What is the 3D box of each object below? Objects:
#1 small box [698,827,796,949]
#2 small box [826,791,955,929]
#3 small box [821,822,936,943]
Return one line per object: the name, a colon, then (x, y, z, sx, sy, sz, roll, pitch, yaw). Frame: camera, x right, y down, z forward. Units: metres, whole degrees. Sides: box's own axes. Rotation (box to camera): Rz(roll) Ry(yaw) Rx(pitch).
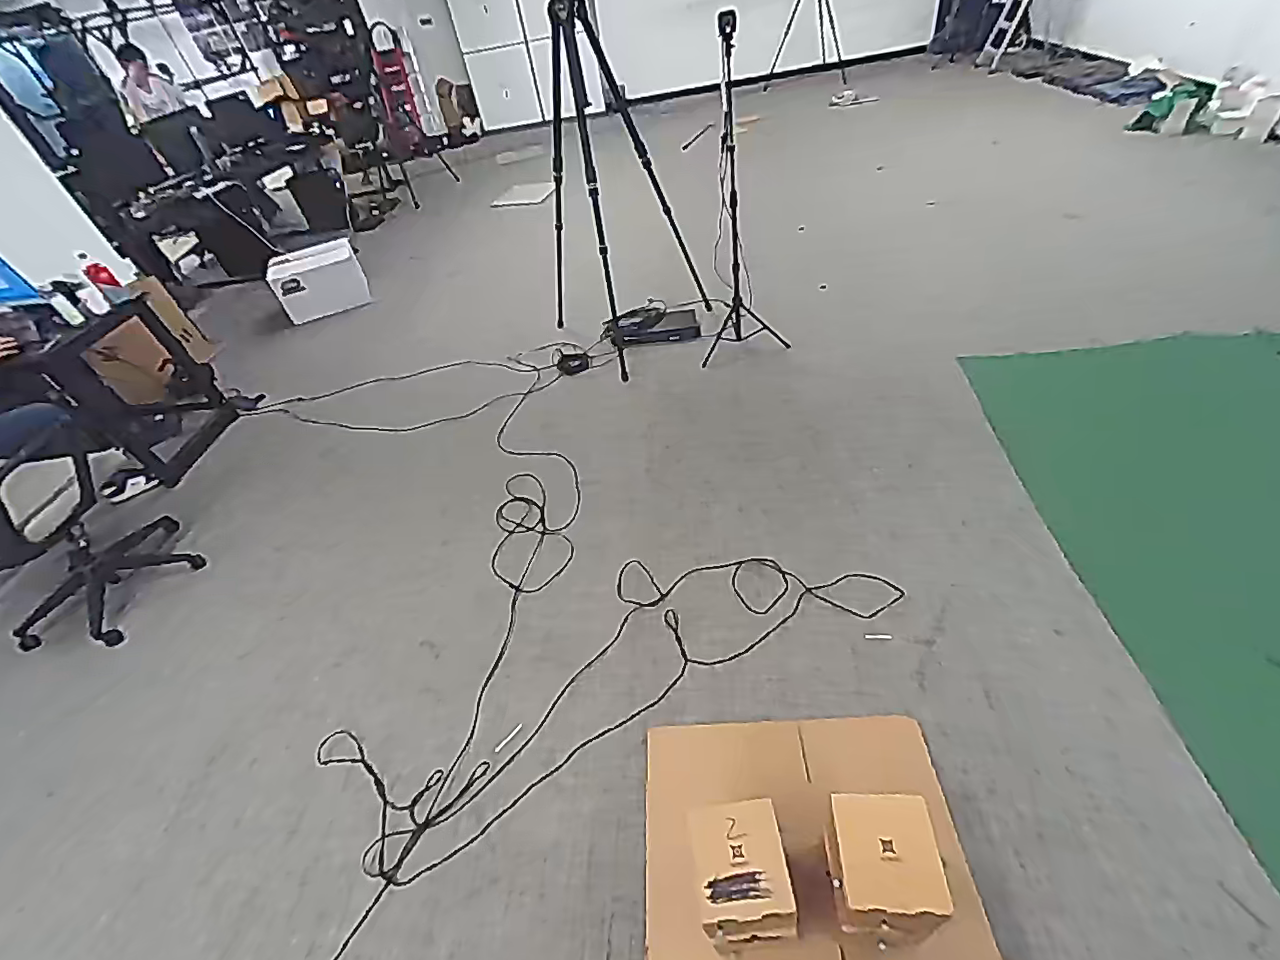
small box: (0.220, 0.846, 1.117, 0.168, 0.176, 0.179, -9, 43, 4)
small box: (0.442, 0.693, 0.989, 0.168, 0.176, 0.179, -5, 44, 10)
small box: (0.468, 0.813, 1.095, 0.168, 0.176, 0.179, -8, 44, 8)
